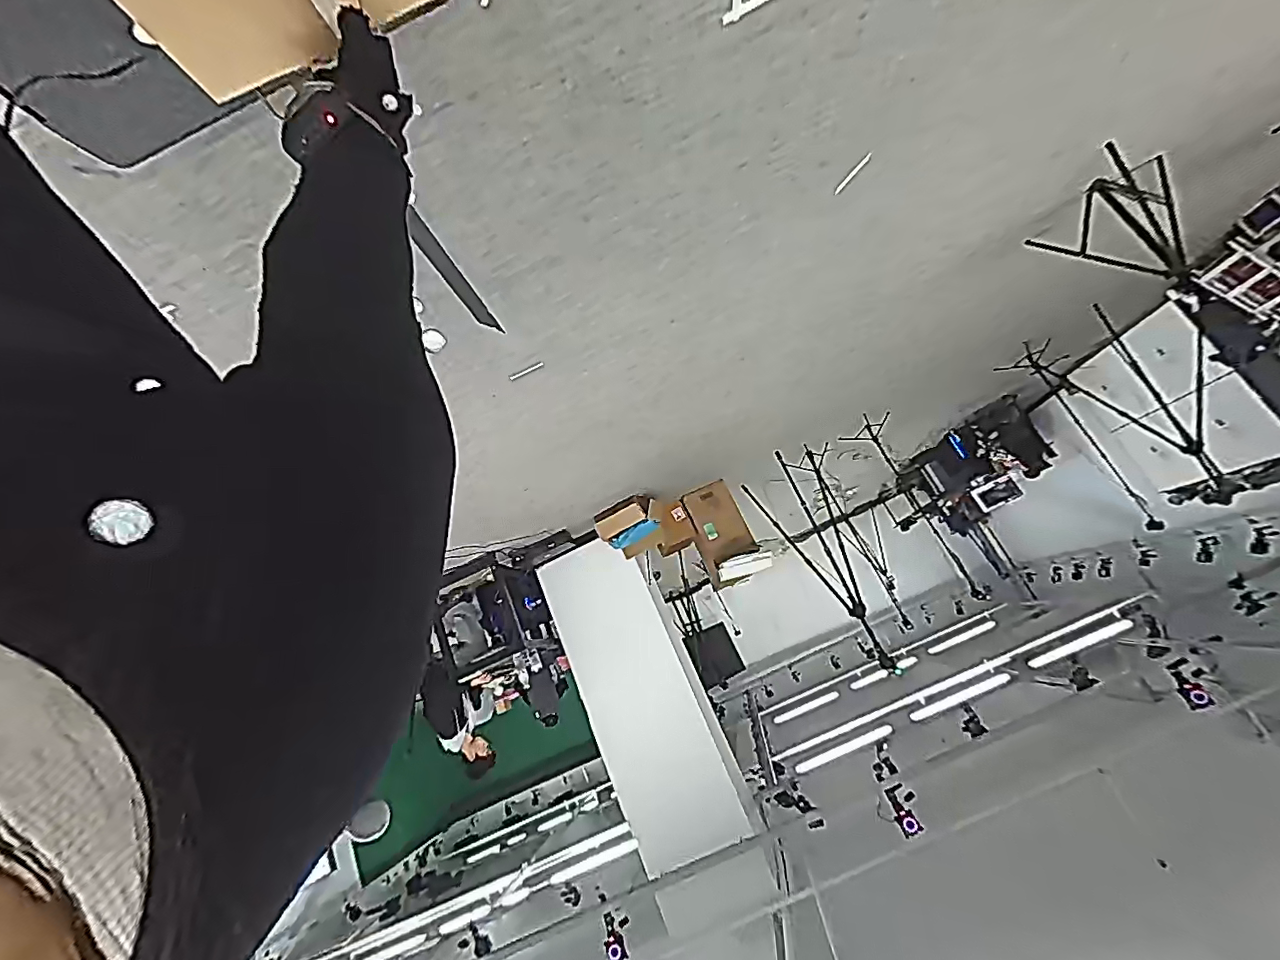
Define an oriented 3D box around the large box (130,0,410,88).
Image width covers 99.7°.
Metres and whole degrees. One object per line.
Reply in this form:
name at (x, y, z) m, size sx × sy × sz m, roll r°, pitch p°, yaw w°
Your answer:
large box at (-0.370, -0.633, 0.392) m, size 0.320 × 0.320 × 0.408 m, roll -20°, pitch 162°, yaw 6°
